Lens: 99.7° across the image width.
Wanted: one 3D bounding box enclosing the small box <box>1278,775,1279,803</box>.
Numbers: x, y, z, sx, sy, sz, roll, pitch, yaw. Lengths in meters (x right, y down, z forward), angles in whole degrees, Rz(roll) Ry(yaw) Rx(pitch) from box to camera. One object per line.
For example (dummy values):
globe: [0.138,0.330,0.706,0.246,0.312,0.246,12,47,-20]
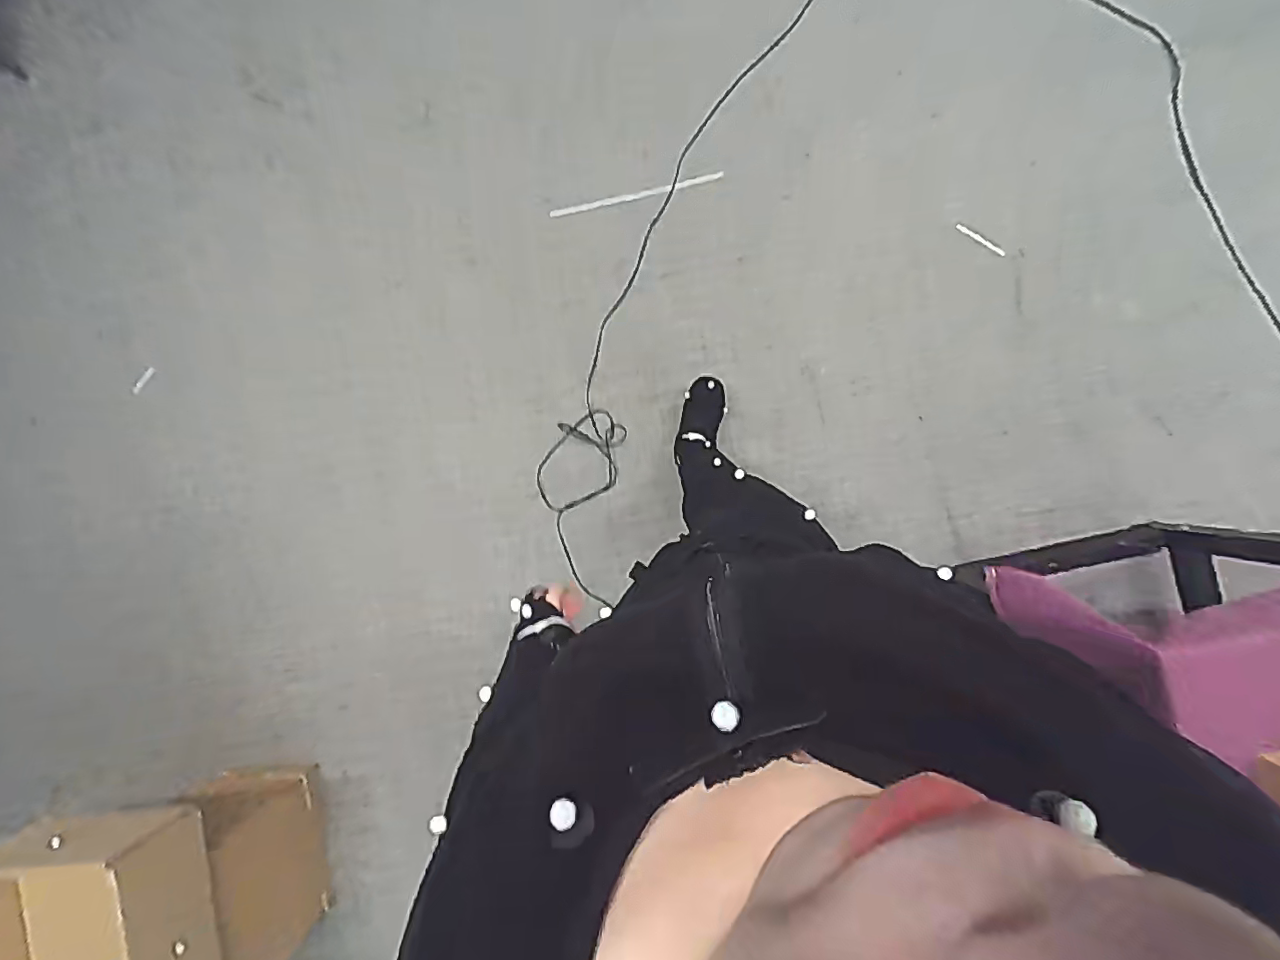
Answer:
small box: [0.879,0.417,0.595,0.179,0.176,0.168,-10,90,5]
